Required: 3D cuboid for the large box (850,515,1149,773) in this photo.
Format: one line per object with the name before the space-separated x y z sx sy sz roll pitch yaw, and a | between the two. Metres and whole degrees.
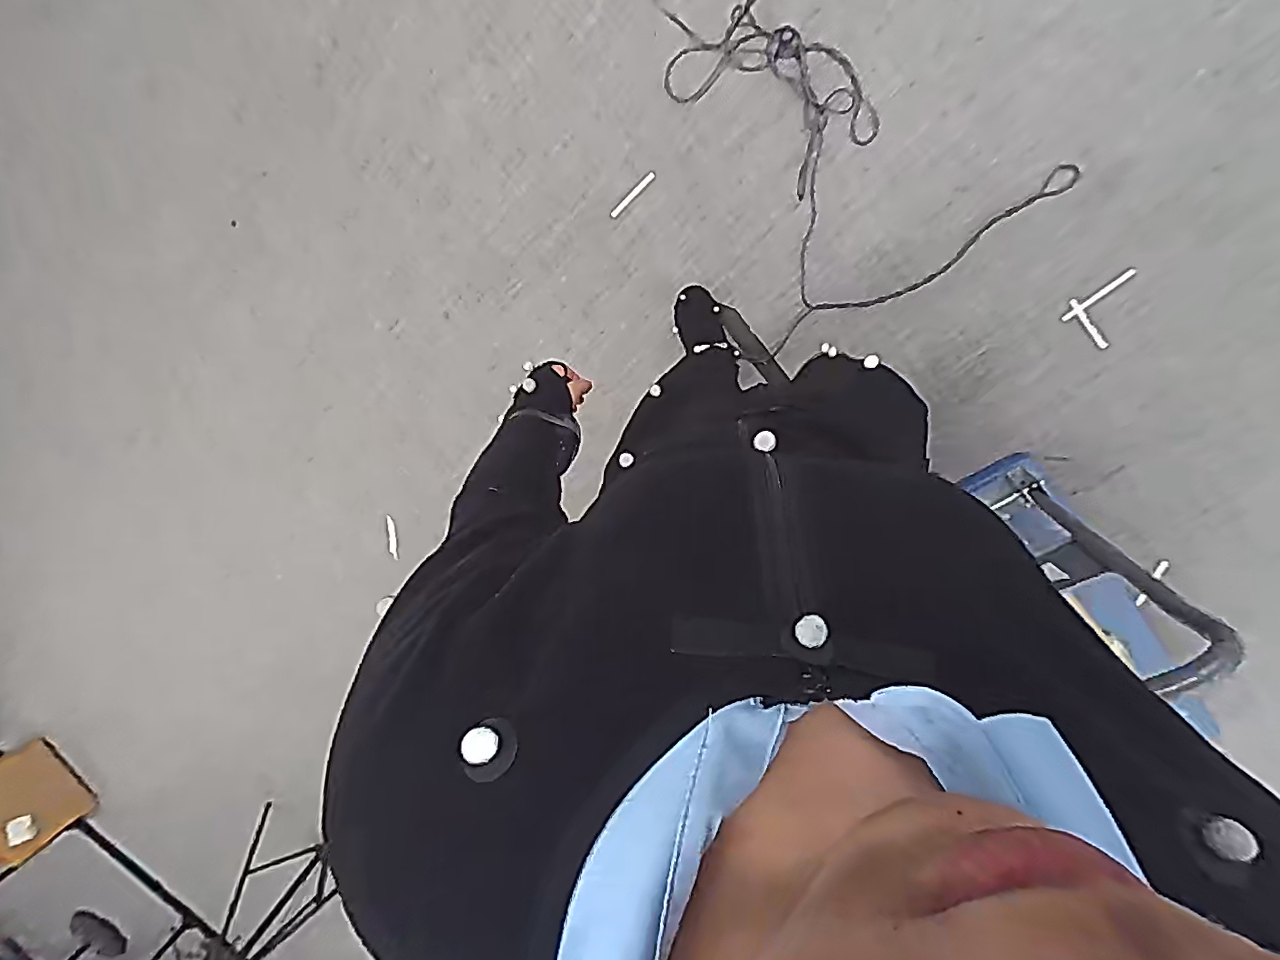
large box | 0.742 0.350 1.196 0.408 0.320 0.320 -40 96 24
